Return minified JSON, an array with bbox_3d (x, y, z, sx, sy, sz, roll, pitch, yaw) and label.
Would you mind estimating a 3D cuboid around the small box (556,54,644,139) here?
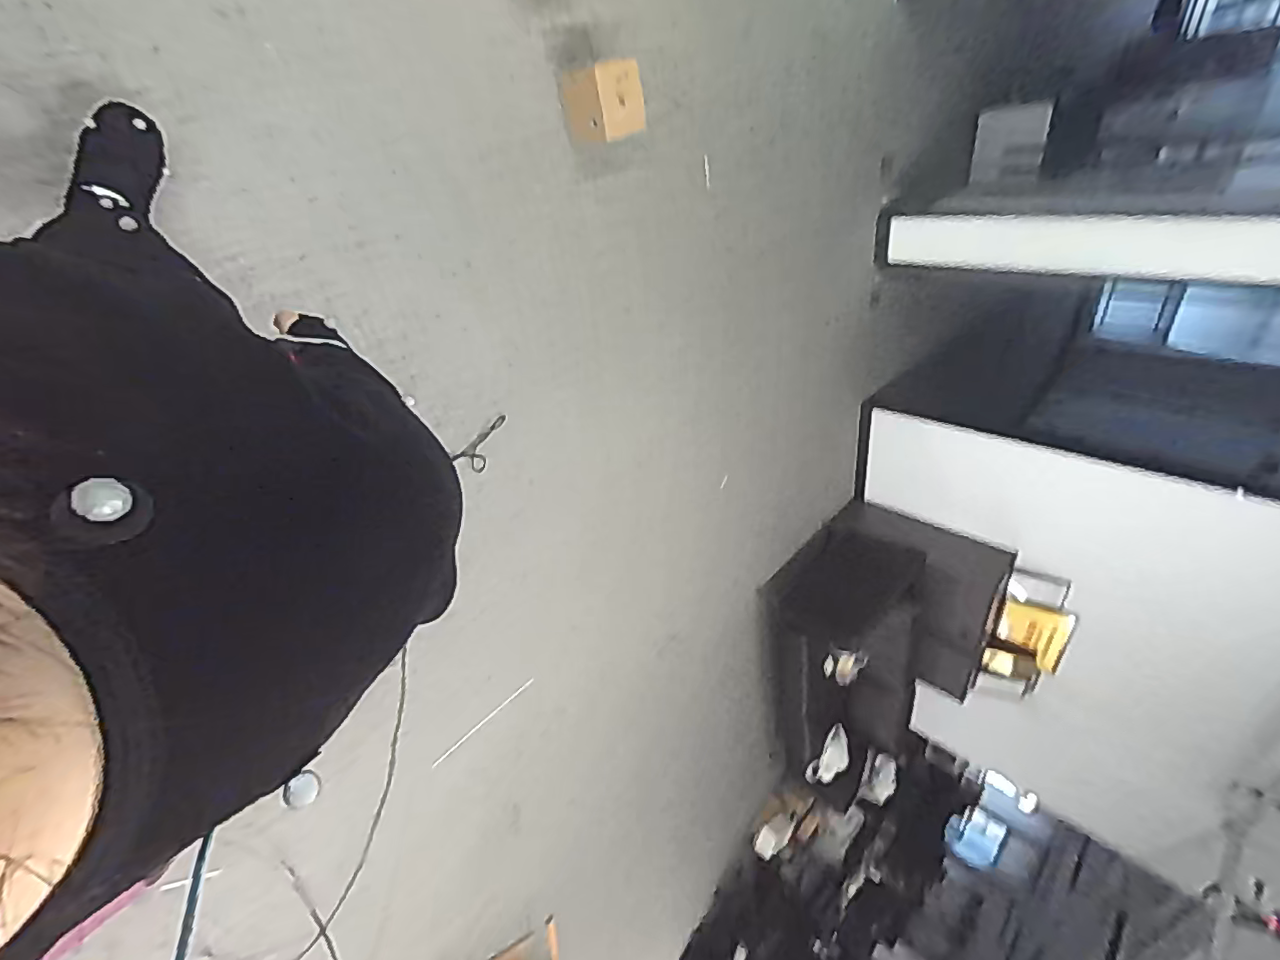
[{"bbox_3d":[-0.113,-1.088,1.543,0.168,0.176,0.179,-38,133,-30],"label":"small box"}]
